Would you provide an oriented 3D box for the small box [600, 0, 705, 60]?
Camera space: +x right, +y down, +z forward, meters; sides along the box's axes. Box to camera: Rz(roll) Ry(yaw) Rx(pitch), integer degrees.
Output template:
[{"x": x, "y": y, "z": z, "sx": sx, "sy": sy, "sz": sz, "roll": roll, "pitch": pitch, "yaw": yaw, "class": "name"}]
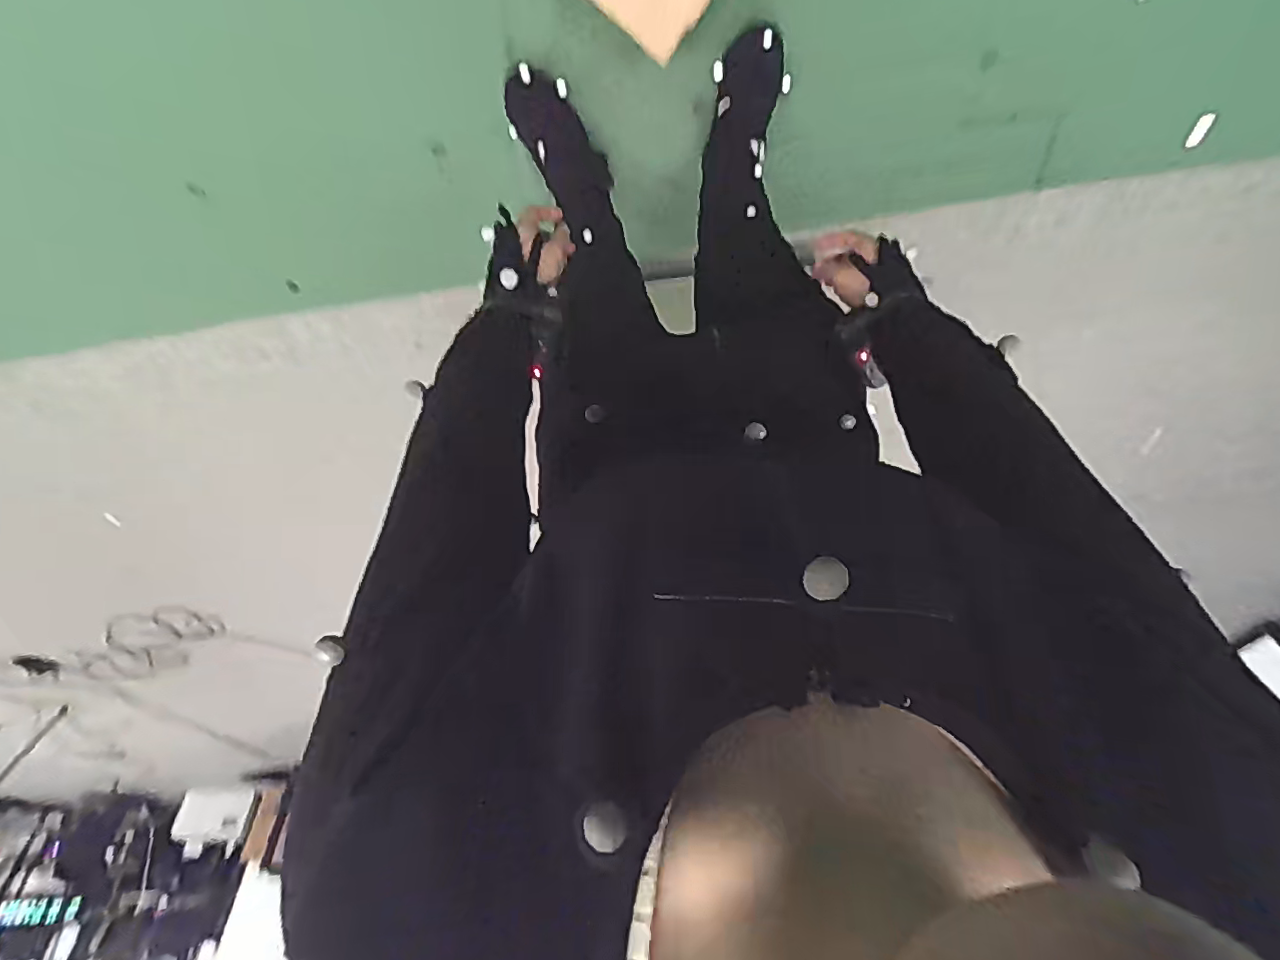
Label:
[{"x": 0.014, "y": -0.755, "z": 0.761, "sx": 0.179, "sy": 0.176, "sz": 0.168, "roll": 25, "pitch": 133, "yaw": -29, "class": "small box"}]
